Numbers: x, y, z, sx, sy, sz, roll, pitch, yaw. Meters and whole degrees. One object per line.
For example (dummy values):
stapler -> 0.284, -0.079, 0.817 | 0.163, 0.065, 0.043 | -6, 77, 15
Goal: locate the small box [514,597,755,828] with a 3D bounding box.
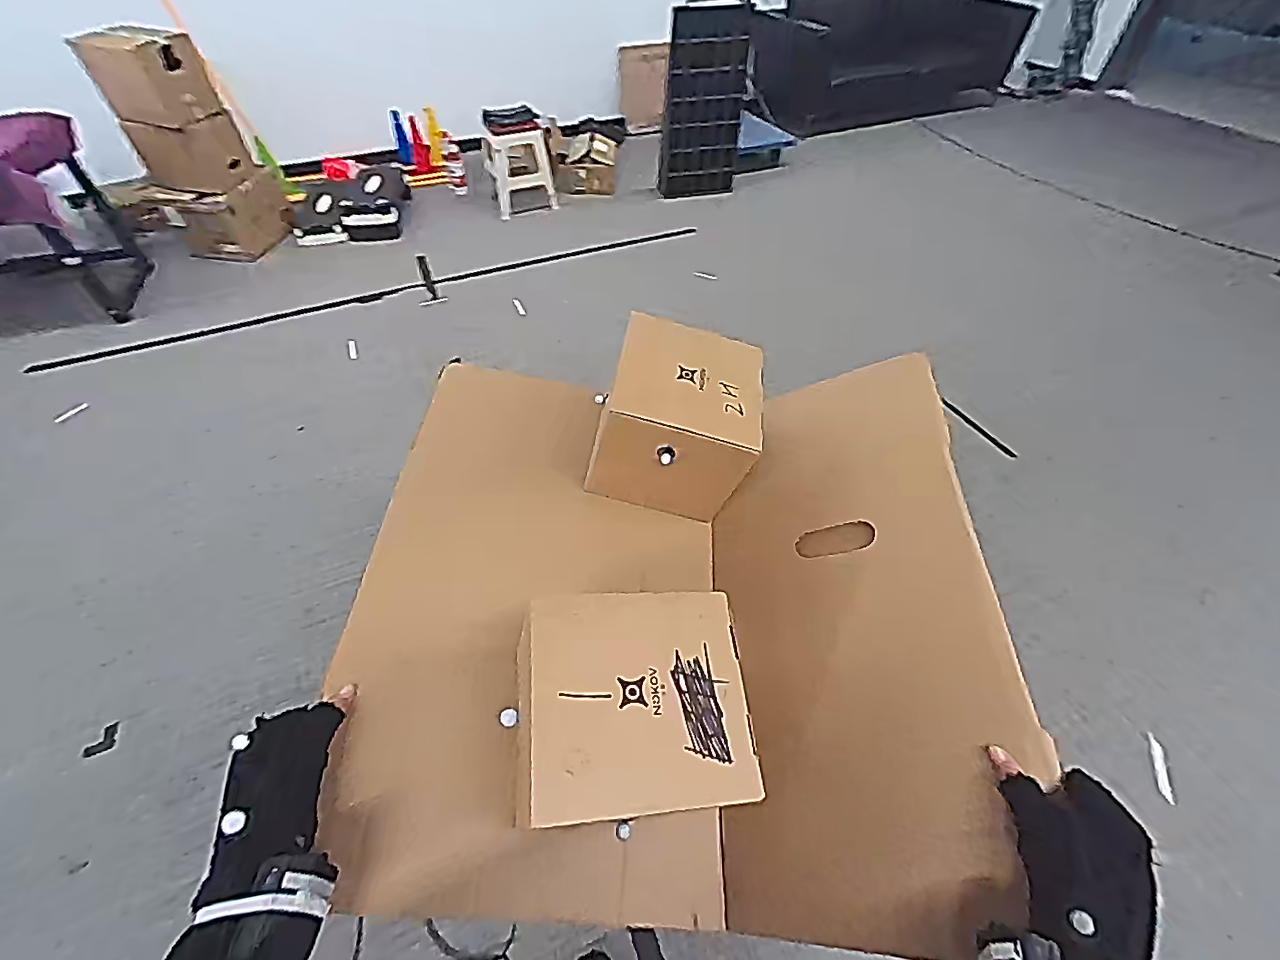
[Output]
small box -> -0.020, 0.215, 0.500 | 0.179, 0.176, 0.168 | 2, 57, -15

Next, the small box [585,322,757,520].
small box -> 0.036, -0.067, 0.699 | 0.179, 0.176, 0.168 | 15, 55, -7
